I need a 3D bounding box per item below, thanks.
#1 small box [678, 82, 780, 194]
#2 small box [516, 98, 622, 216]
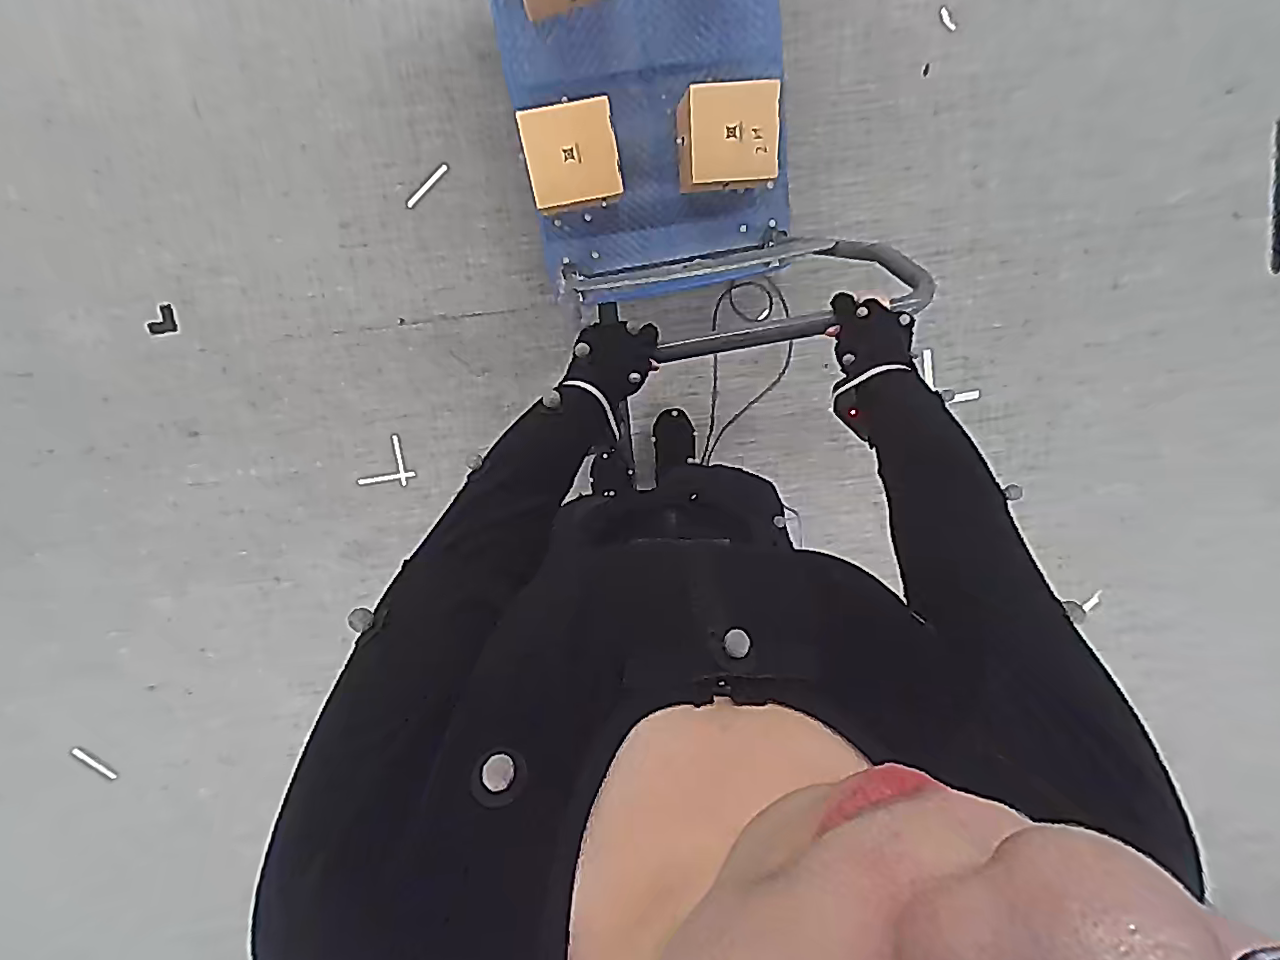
[{"bbox_3d":[0.174,-0.694,1.113,0.179,0.176,0.168,-6,113,-4],"label":"small box"},{"bbox_3d":[-0.140,-0.646,1.101,0.179,0.176,0.168,-12,113,-2],"label":"small box"}]
